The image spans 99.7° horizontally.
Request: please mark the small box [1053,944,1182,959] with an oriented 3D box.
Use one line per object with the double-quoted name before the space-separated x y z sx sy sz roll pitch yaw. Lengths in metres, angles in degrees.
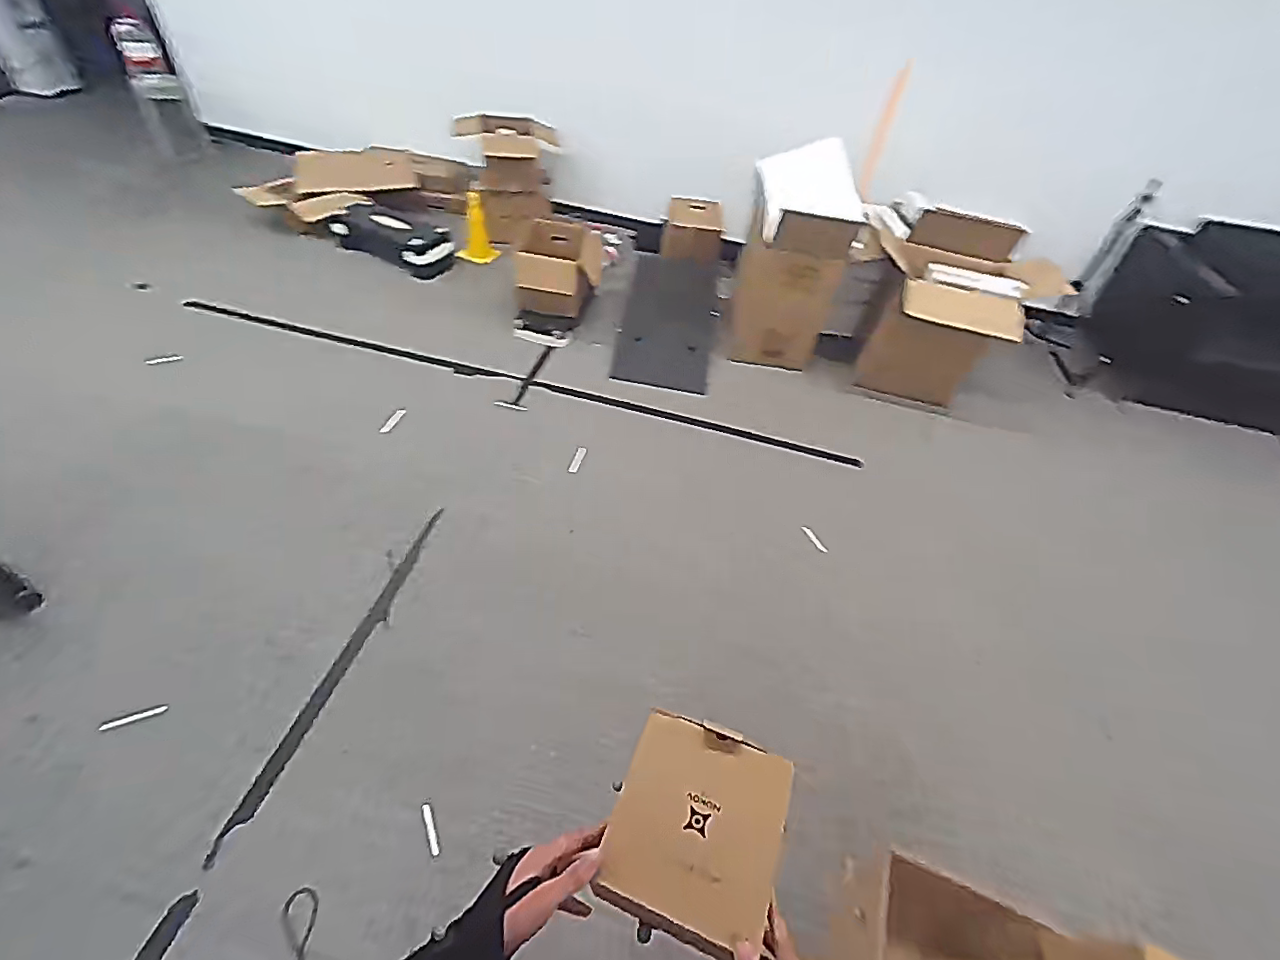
"small box" 0.608 0.665 0.604 0.168 0.176 0.179 22 49 10
